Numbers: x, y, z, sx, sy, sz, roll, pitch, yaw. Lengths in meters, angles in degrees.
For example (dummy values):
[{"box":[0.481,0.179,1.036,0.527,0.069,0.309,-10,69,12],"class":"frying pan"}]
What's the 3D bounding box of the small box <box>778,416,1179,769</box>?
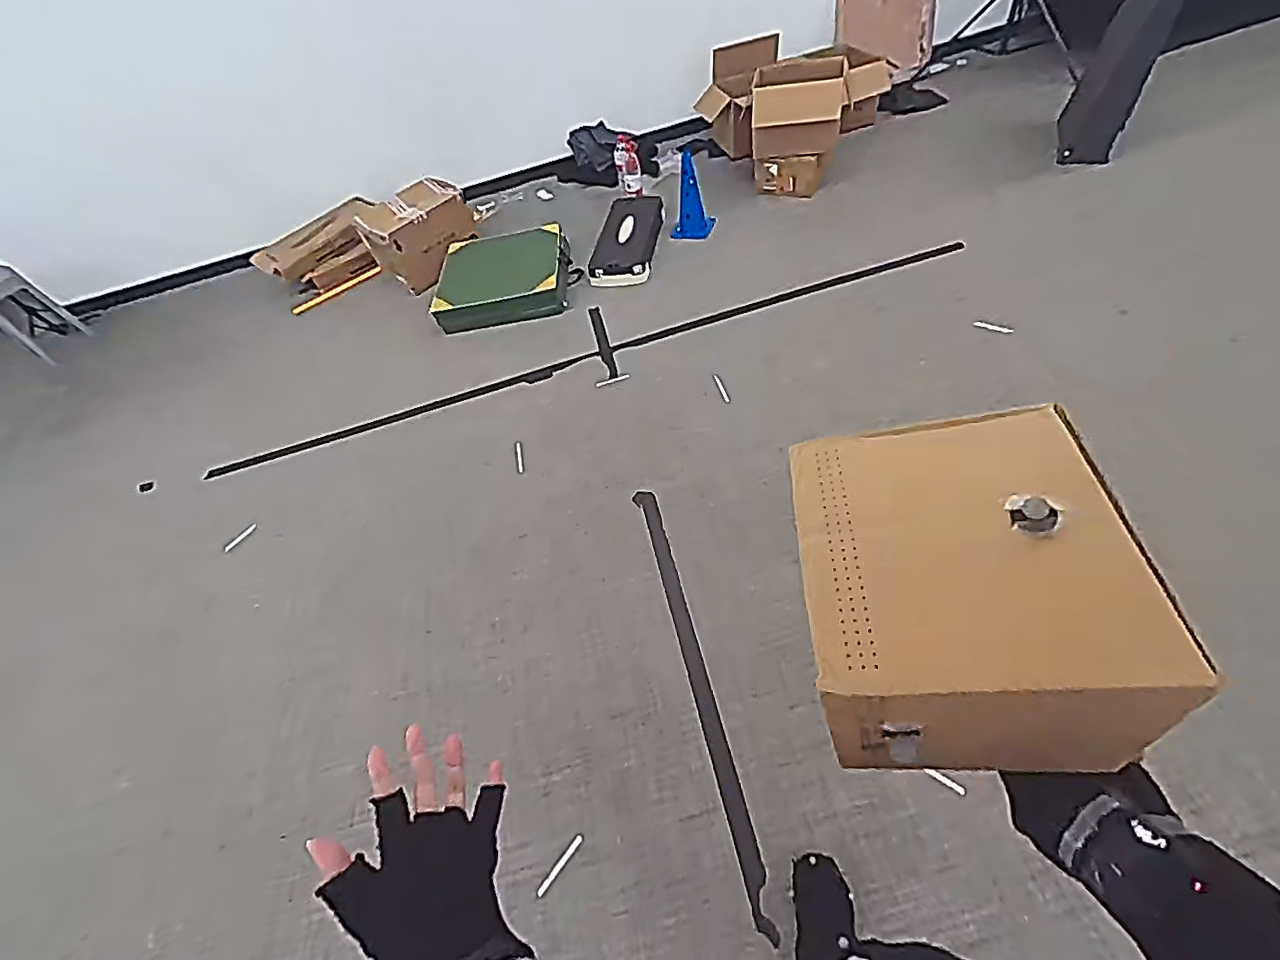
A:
[{"box":[0.195,0.085,0.373,0.176,0.168,0.179,-10,49,19],"class":"small box"}]
